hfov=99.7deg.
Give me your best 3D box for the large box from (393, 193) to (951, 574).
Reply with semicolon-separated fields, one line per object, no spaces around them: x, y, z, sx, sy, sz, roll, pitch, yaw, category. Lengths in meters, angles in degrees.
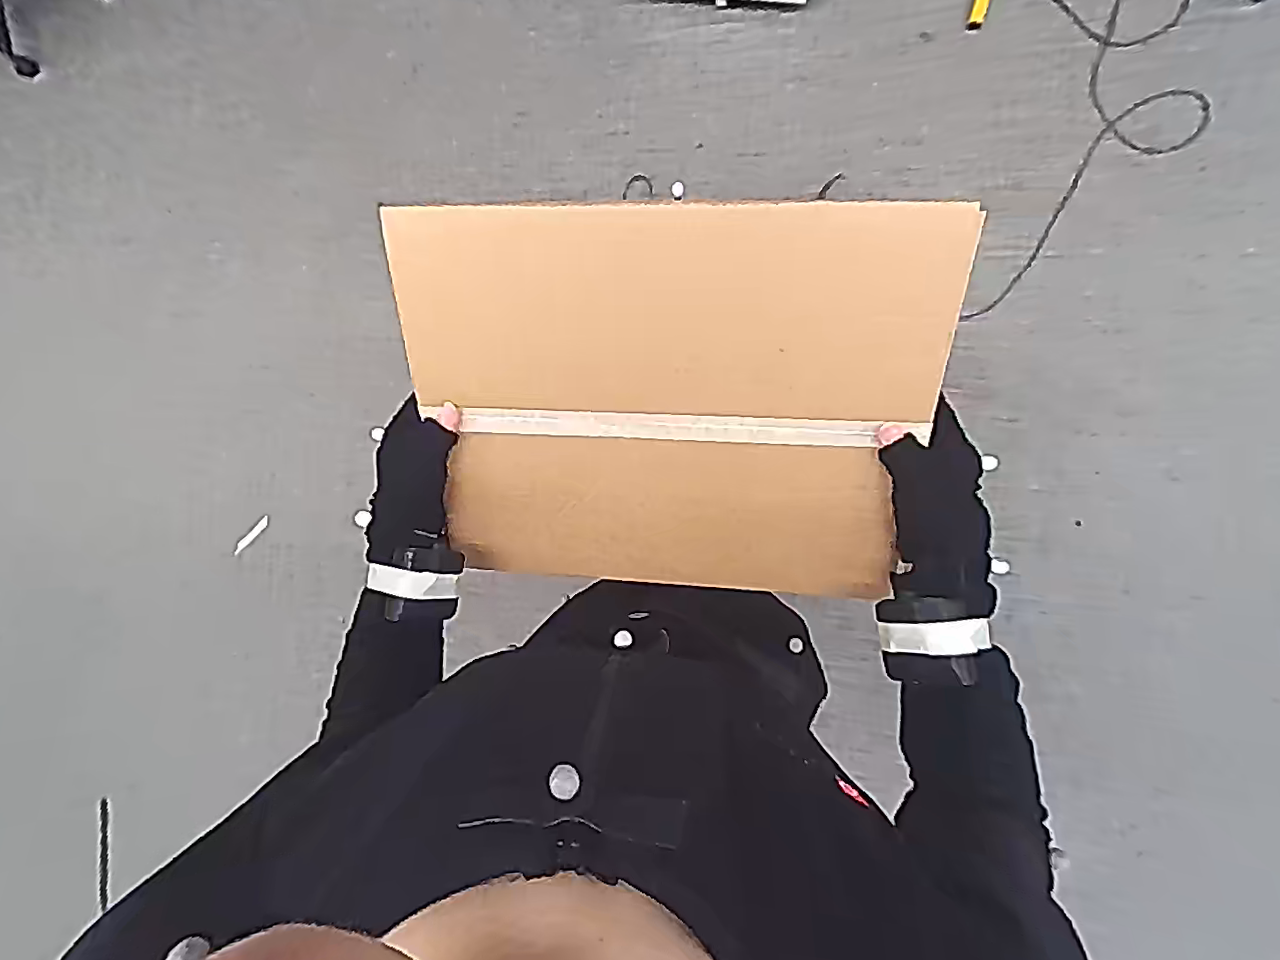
0.035;-0.123;0.577;0.408;0.320;0.320;2;118;7;large box
